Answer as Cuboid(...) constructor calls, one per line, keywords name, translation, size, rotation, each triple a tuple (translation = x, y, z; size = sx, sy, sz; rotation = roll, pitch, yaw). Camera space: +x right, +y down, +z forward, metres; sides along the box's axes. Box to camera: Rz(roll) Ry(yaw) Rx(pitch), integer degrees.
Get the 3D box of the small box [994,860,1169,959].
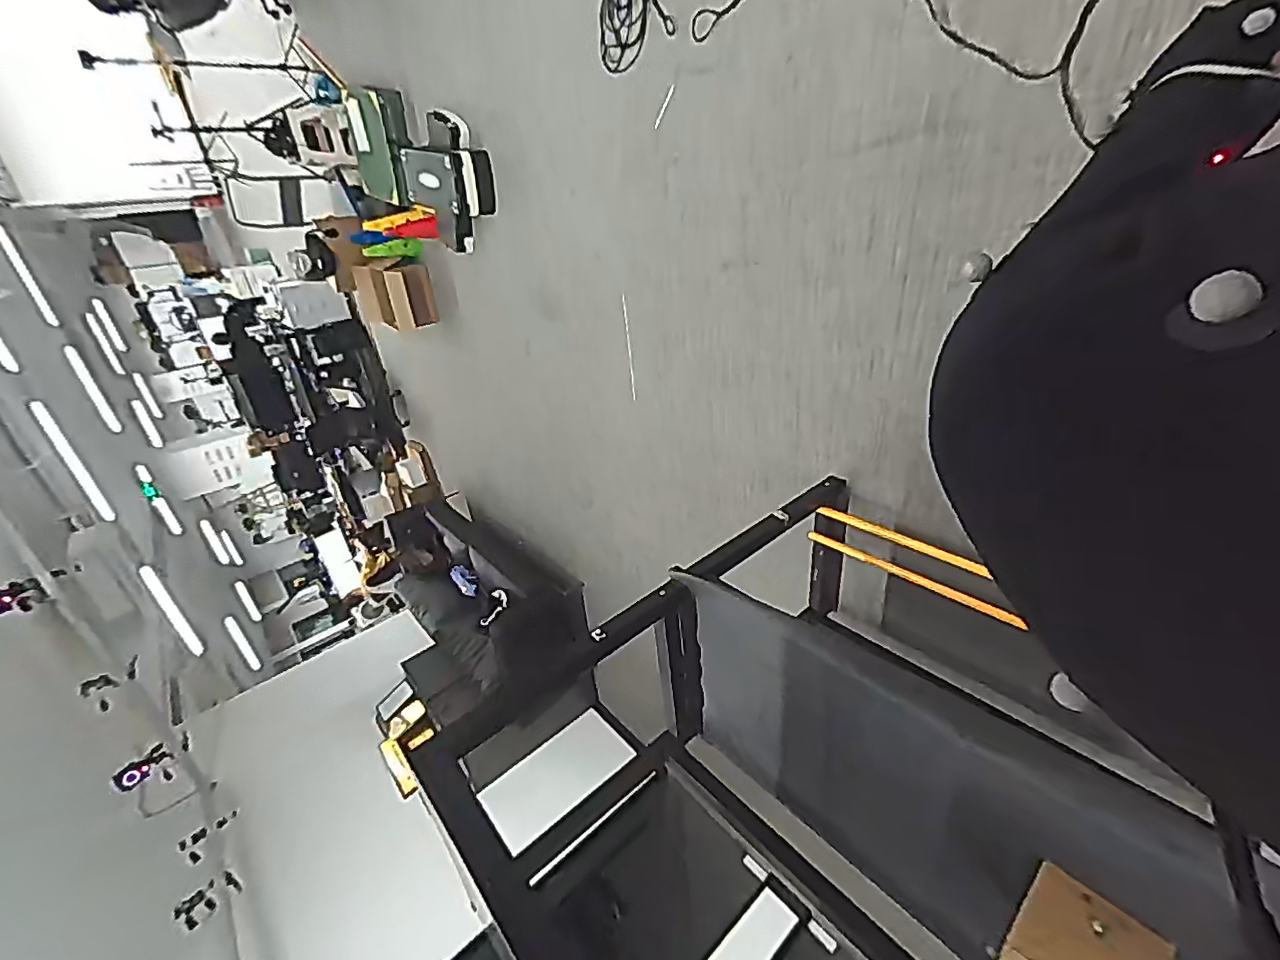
Cuboid(name="small box", translation=(0.672, 0.752, 0.836), size=(0.168, 0.176, 0.179), rotation=(25, 131, 44))
